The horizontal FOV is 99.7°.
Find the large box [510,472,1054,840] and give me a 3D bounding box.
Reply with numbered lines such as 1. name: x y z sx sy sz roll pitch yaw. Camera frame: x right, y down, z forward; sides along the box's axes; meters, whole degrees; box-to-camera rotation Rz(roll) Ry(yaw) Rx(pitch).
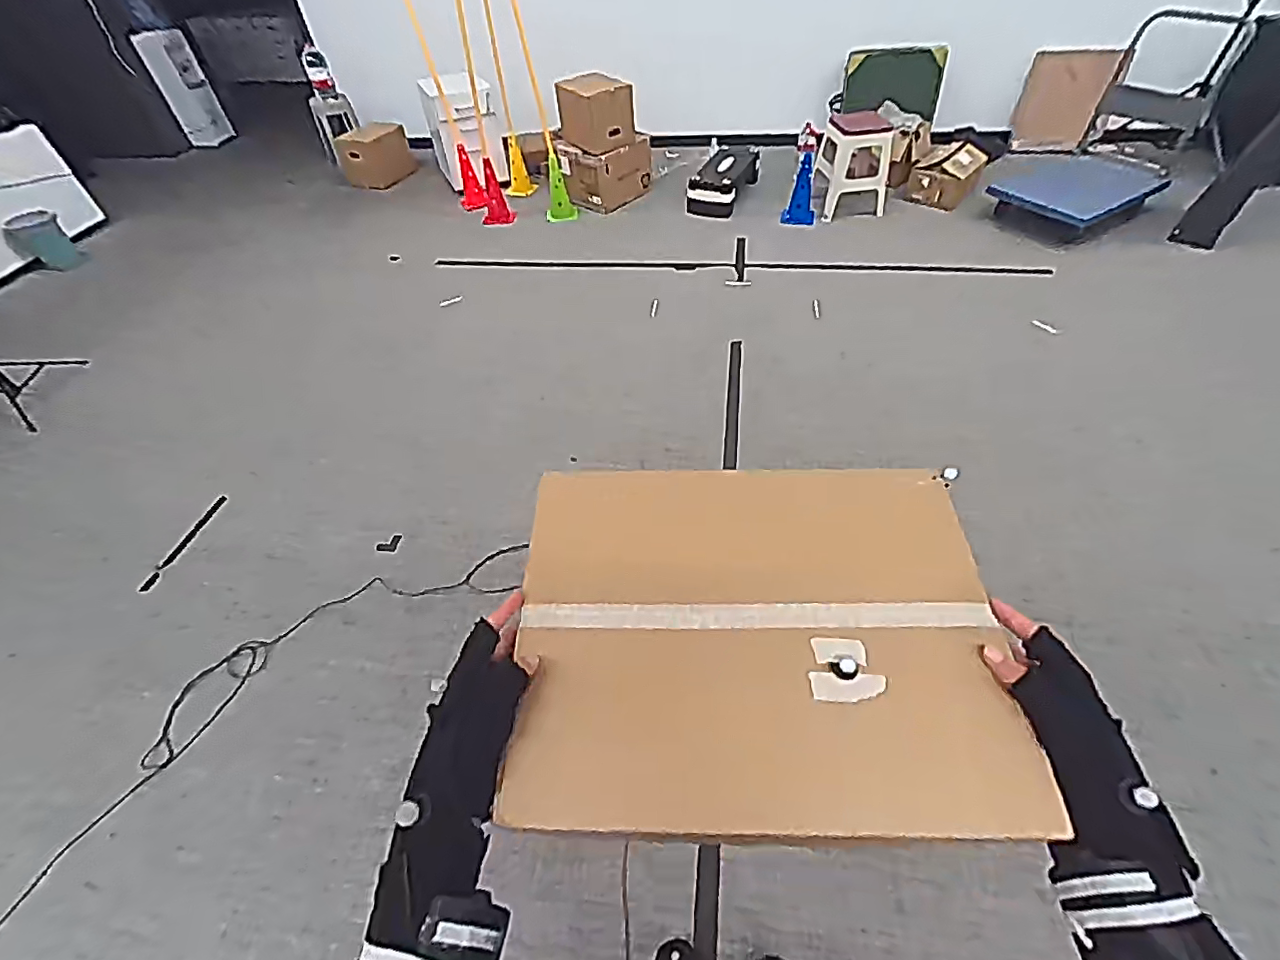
1. large box: 0.103 0.205 0.596 0.408 0.320 0.320 0 56 2
